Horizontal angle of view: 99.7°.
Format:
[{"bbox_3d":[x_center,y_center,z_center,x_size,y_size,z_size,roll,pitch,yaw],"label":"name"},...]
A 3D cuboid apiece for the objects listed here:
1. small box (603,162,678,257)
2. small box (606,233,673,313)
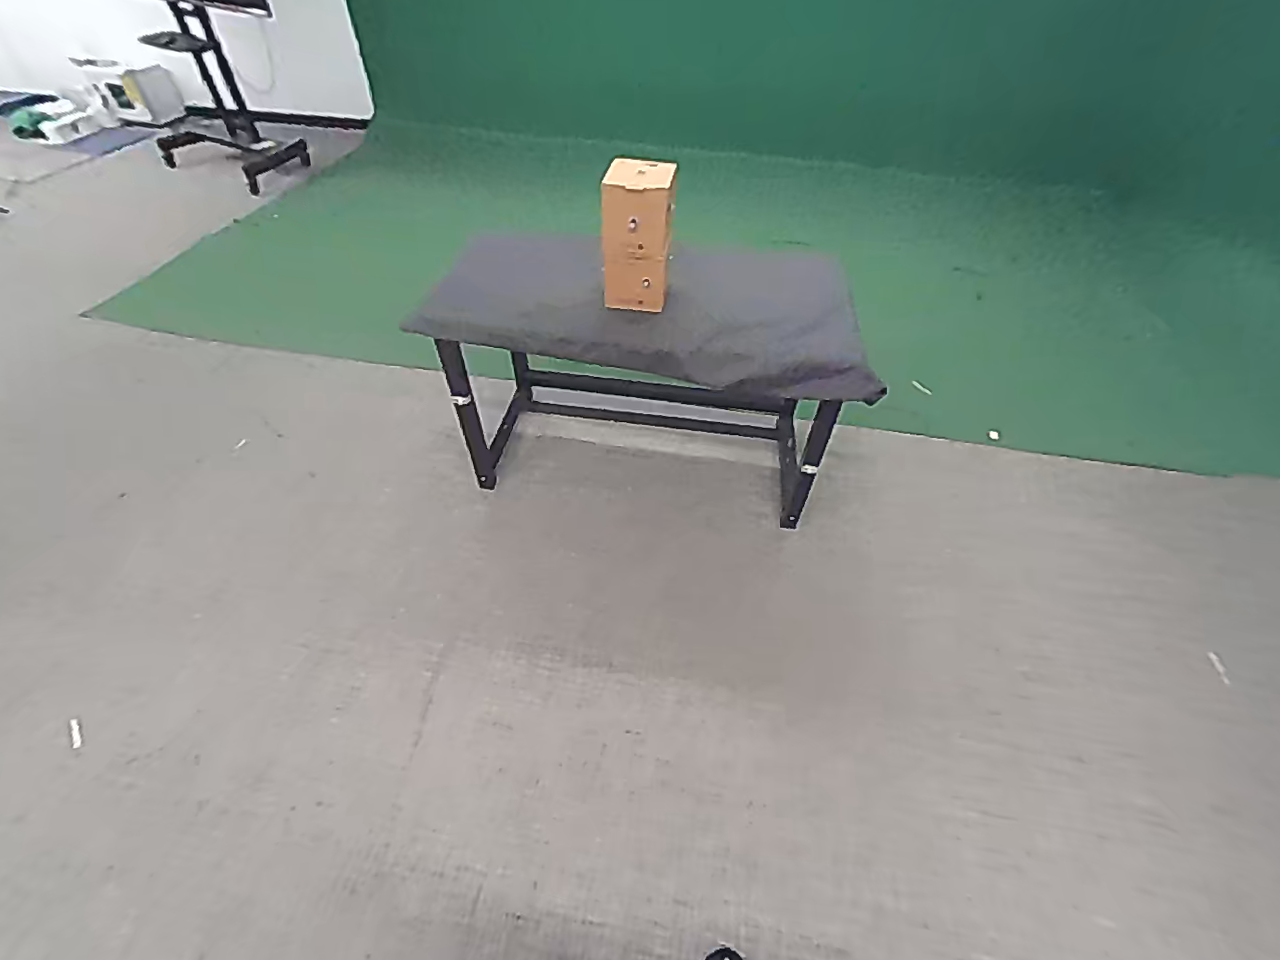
[{"bbox_3d":[0.003,-0.708,1.422,0.168,0.176,0.179,9,50,4],"label":"small box"},{"bbox_3d":[0.000,-0.595,1.540,0.168,0.176,0.179,8,47,3],"label":"small box"}]
